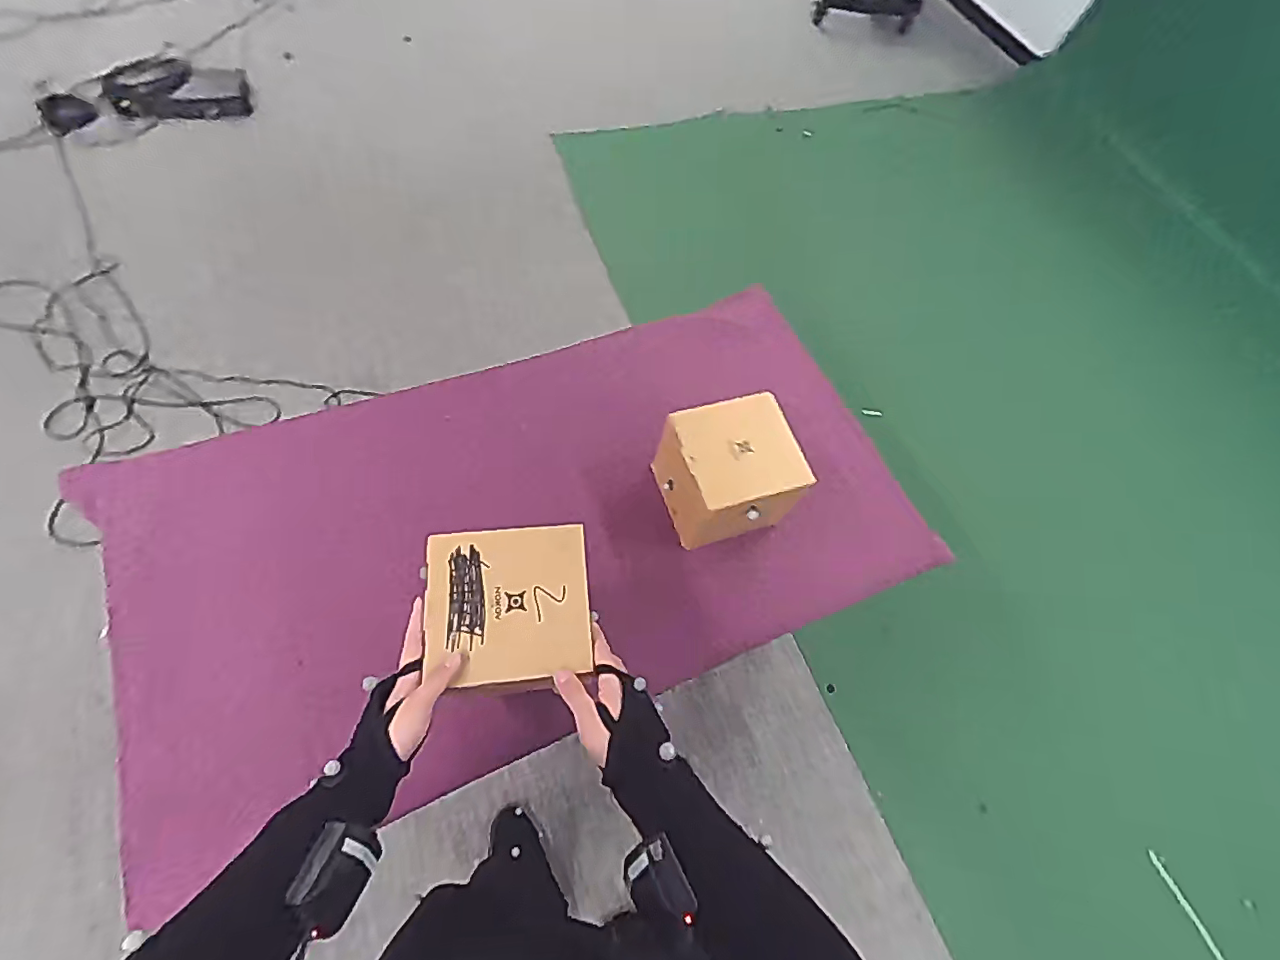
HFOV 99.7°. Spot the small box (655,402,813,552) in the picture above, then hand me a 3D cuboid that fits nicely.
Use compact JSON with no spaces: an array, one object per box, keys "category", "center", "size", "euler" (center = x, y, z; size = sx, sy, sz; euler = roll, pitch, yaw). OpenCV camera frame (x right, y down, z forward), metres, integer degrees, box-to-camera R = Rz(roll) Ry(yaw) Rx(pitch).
[{"category":"small box","center":[0.140,0.000,0.871],"size":[0.179,0.176,0.168],"euler":[-14,67,-14]}]
